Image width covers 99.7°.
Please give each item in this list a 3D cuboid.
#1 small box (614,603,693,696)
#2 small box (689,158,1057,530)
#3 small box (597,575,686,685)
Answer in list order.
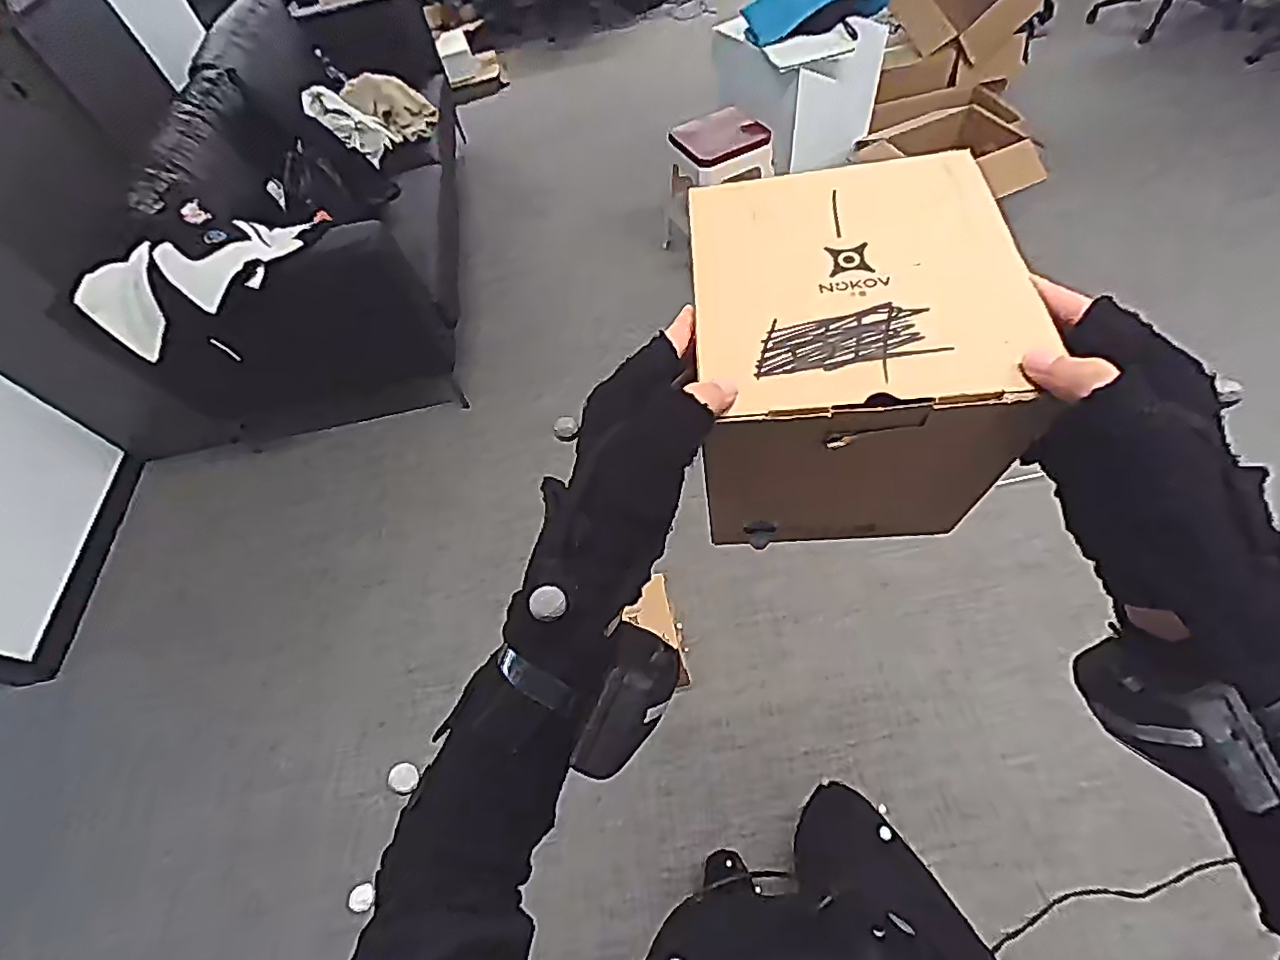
[{"bbox_3d":[0.028,0.432,1.363,0.179,0.176,0.168,-12,56,2],"label":"small box"},{"bbox_3d":[0.124,-0.073,0.364,0.168,0.176,0.179,-4,61,8],"label":"small box"},{"bbox_3d":[0.005,0.343,1.227,0.168,0.176,0.179,-13,55,2],"label":"small box"}]
